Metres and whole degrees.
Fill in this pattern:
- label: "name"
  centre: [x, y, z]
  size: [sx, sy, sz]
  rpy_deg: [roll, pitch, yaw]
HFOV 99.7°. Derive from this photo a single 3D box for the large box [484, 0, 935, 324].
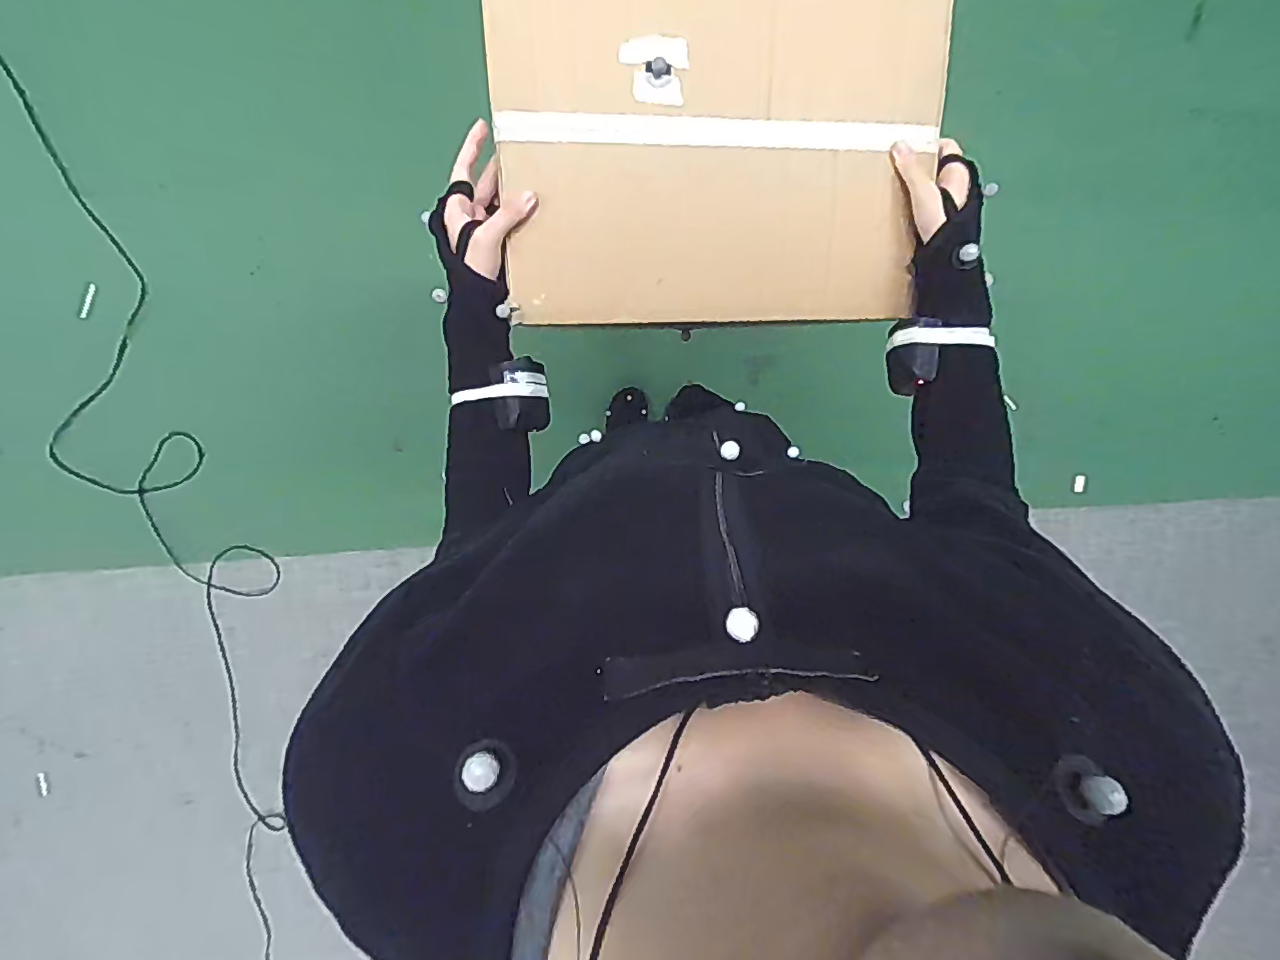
- label: "large box"
  centre: [0.051, -0.347, 0.634]
  size: [0.408, 0.320, 0.320]
  rpy_deg: [-2, 105, -8]
